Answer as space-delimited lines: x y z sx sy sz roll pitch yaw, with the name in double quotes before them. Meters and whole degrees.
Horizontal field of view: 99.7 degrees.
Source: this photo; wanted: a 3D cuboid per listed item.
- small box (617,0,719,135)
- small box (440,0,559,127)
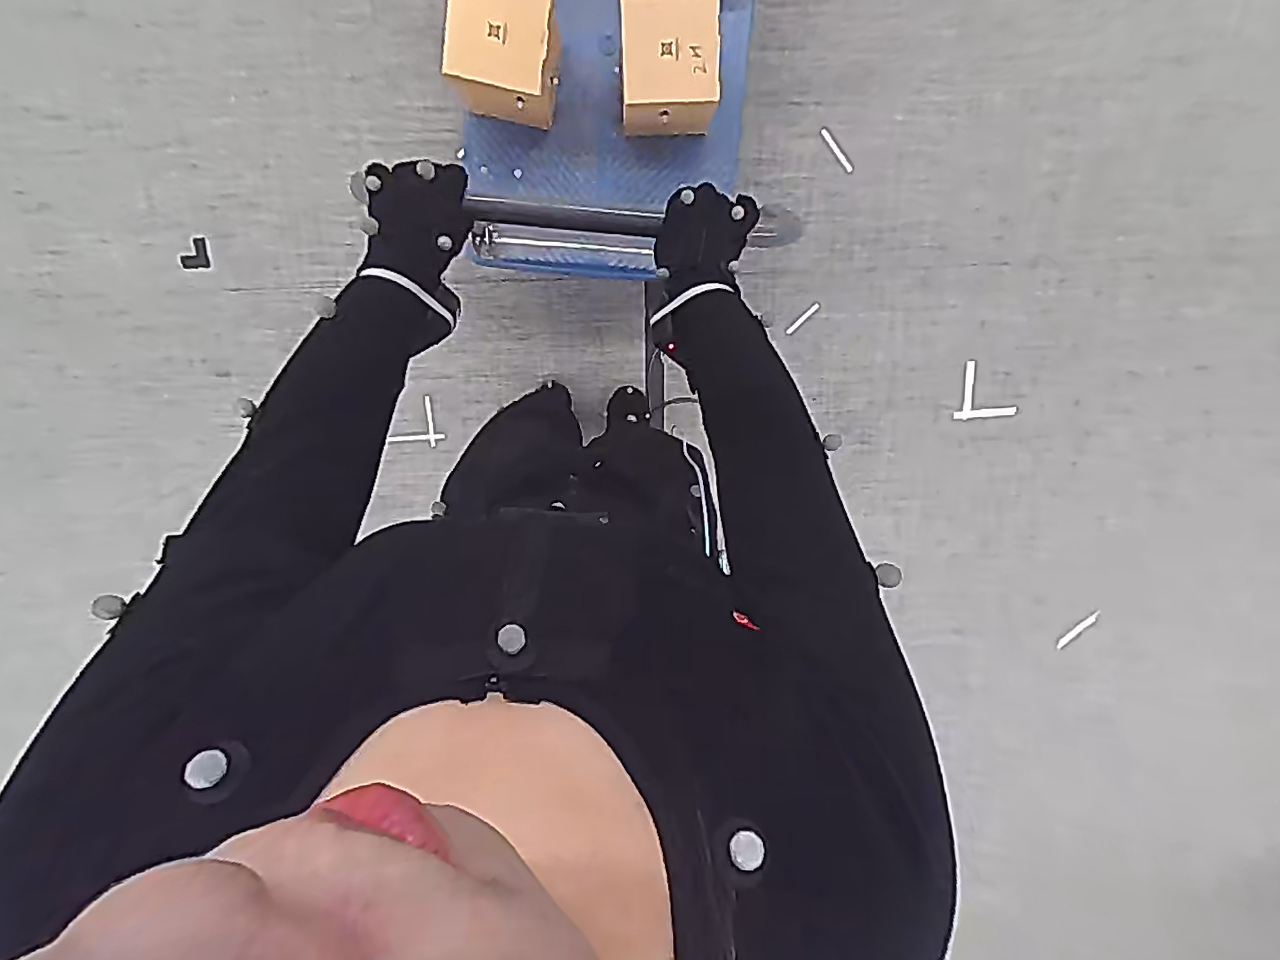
"small box" 0.049 -0.775 1.025 0.179 0.176 0.168 -2 106 -1
"small box" -0.254 -0.792 1.009 0.179 0.176 0.168 9 105 -6
